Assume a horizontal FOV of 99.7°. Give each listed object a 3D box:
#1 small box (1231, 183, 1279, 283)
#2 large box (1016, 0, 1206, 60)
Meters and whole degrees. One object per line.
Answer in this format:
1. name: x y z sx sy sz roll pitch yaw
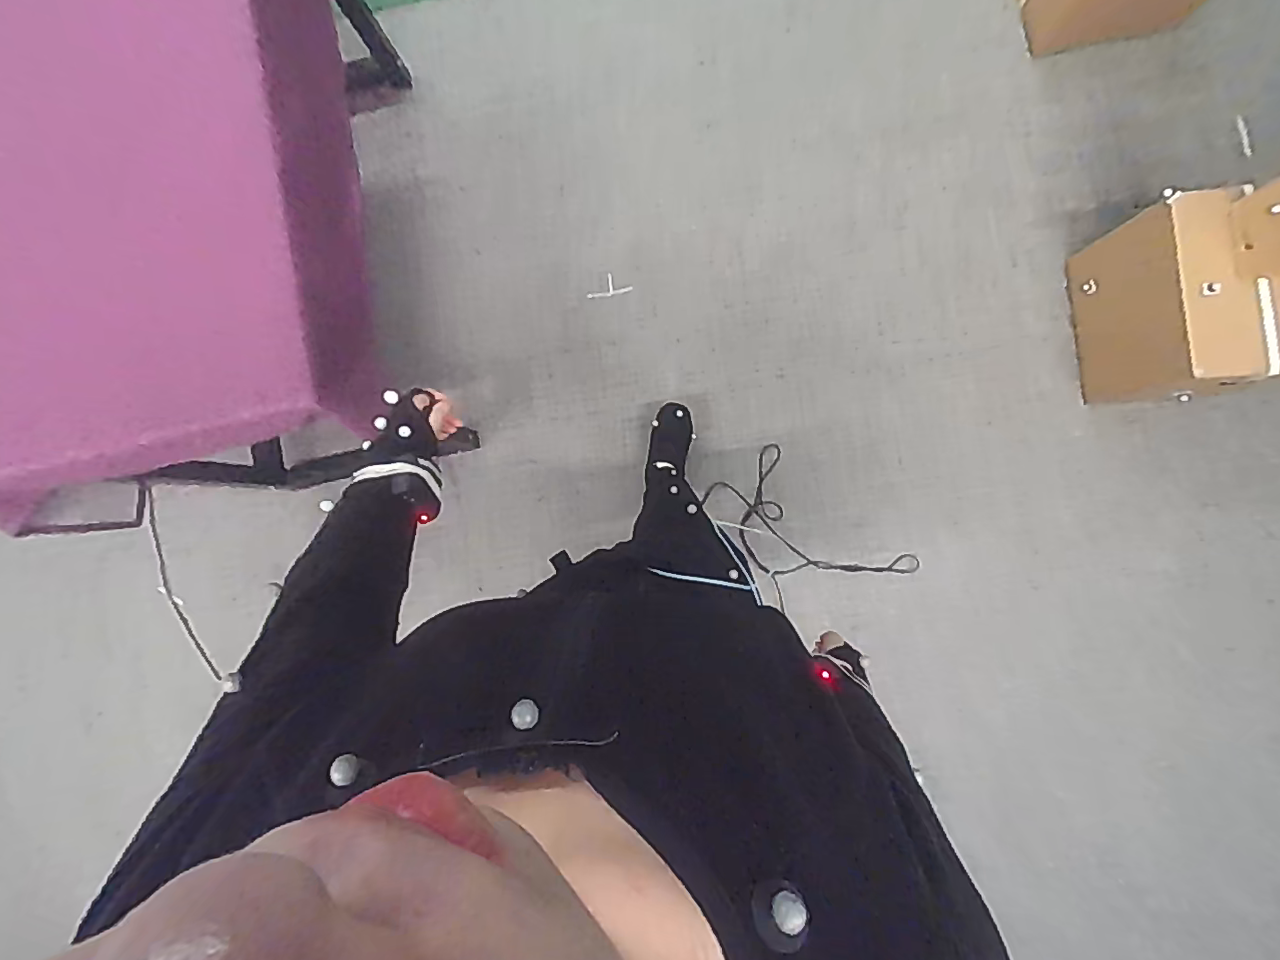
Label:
1. small box: 1.319 -0.497 1.053 0.179 0.176 0.168 -3 87 2
2. large box: 1.242 -1.352 1.353 0.408 0.320 0.320 -10 87 2
